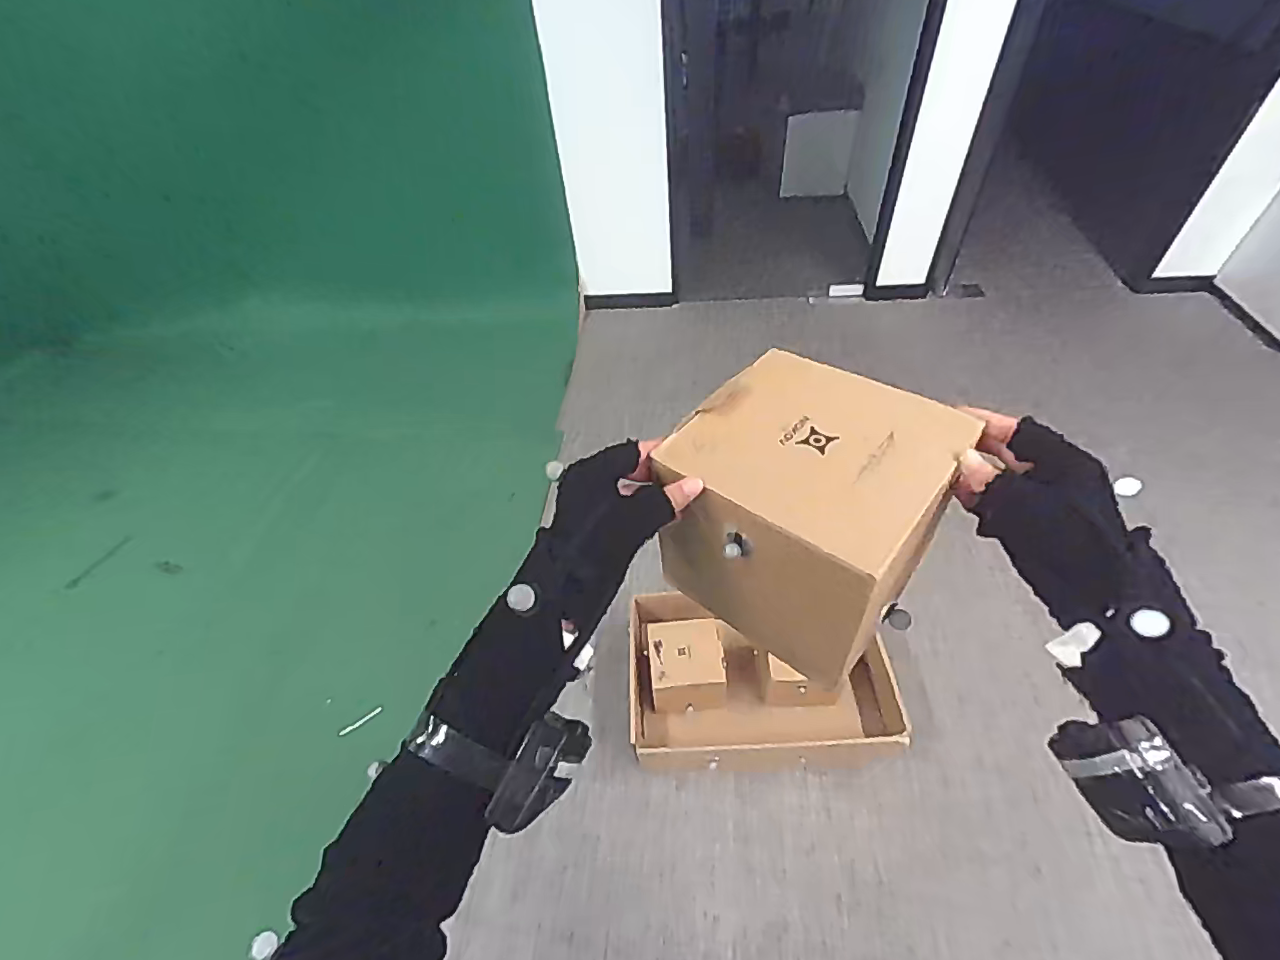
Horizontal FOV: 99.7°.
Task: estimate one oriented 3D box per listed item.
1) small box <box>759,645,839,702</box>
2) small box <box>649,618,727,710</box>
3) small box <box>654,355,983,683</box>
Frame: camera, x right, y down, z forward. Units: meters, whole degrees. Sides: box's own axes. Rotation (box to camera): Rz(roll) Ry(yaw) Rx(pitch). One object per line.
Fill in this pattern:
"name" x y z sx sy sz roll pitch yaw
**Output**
"small box" 0.396 0.448 1.358 0.179 0.176 0.168 -3 48 5
"small box" 0.116 0.468 1.371 0.179 0.176 0.168 -5 47 0
"small box" 0.132 0.030 0.443 0.179 0.176 0.168 30 57 30
